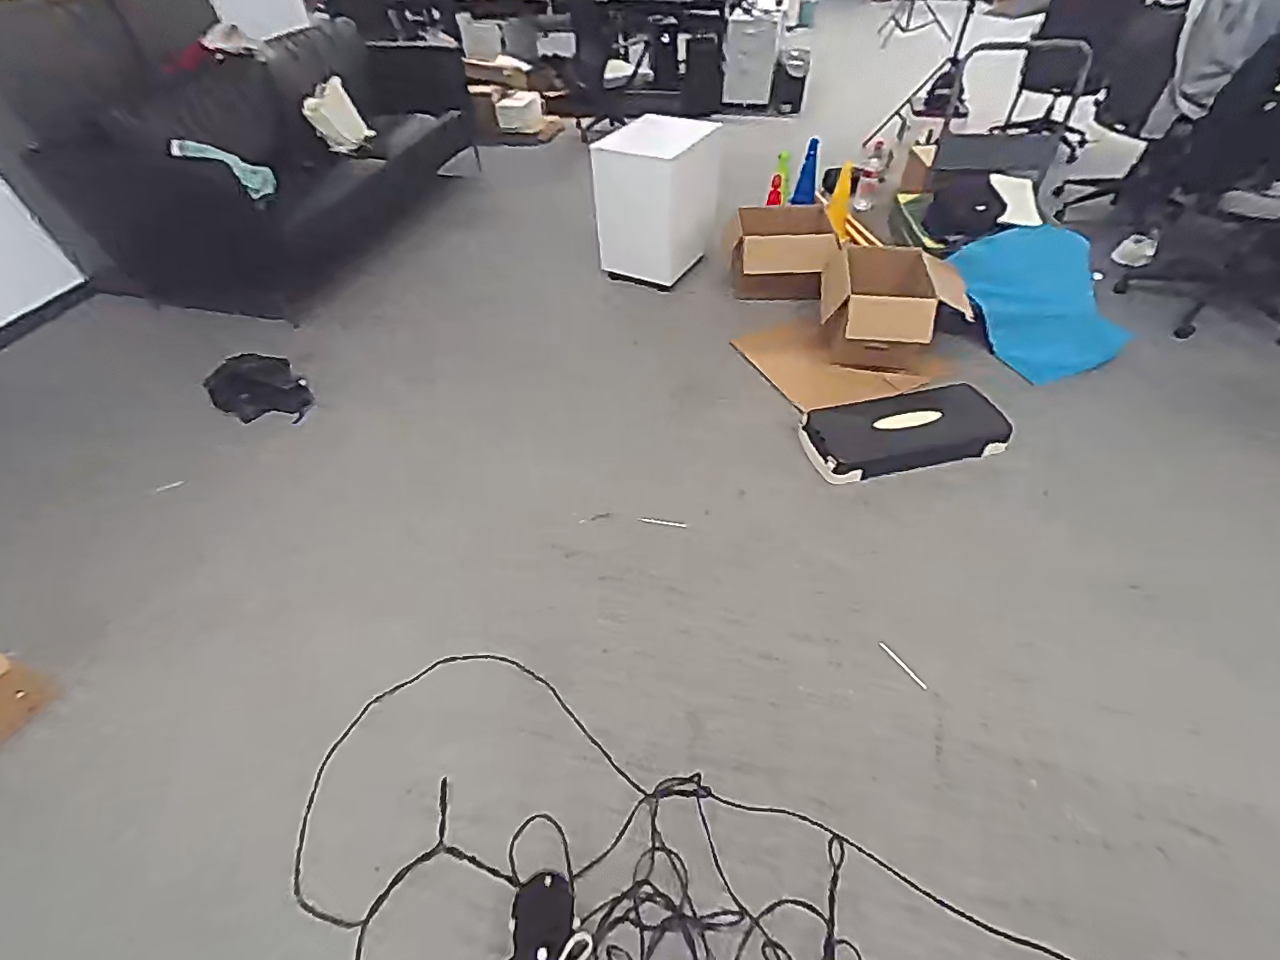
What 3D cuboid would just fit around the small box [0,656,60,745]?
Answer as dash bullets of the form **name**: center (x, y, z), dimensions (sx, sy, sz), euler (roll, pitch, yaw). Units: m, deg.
- **small box**: center (-1.597, 0.530, 1.313), dimensions (0.179, 0.176, 0.168), euler (16, 49, 18)
